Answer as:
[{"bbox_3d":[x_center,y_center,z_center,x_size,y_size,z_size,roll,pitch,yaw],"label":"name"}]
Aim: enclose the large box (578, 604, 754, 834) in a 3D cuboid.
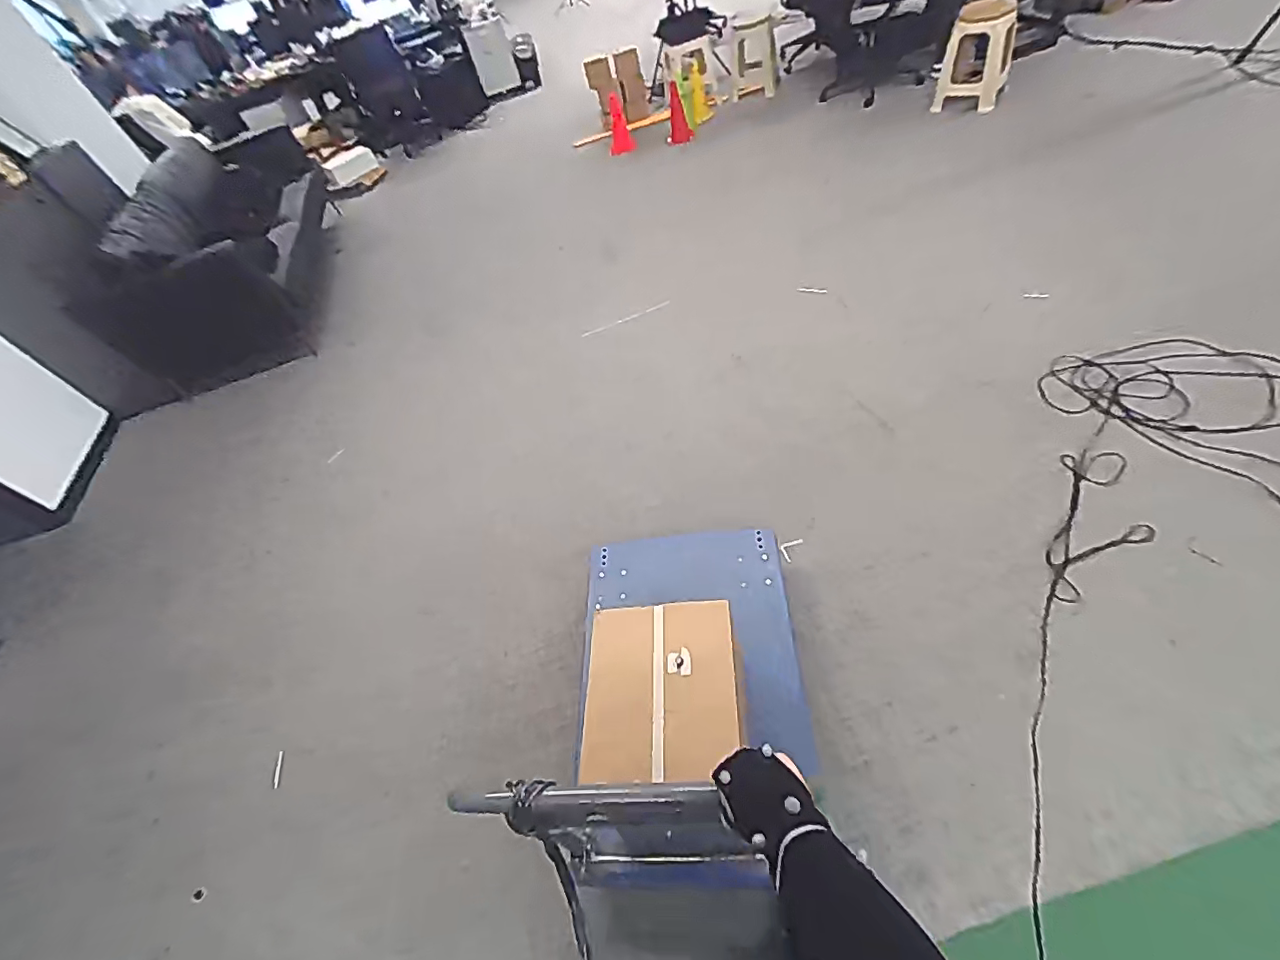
[{"bbox_3d":[0.070,0.541,1.218,0.320,0.320,0.408,-7,49,11],"label":"large box"}]
